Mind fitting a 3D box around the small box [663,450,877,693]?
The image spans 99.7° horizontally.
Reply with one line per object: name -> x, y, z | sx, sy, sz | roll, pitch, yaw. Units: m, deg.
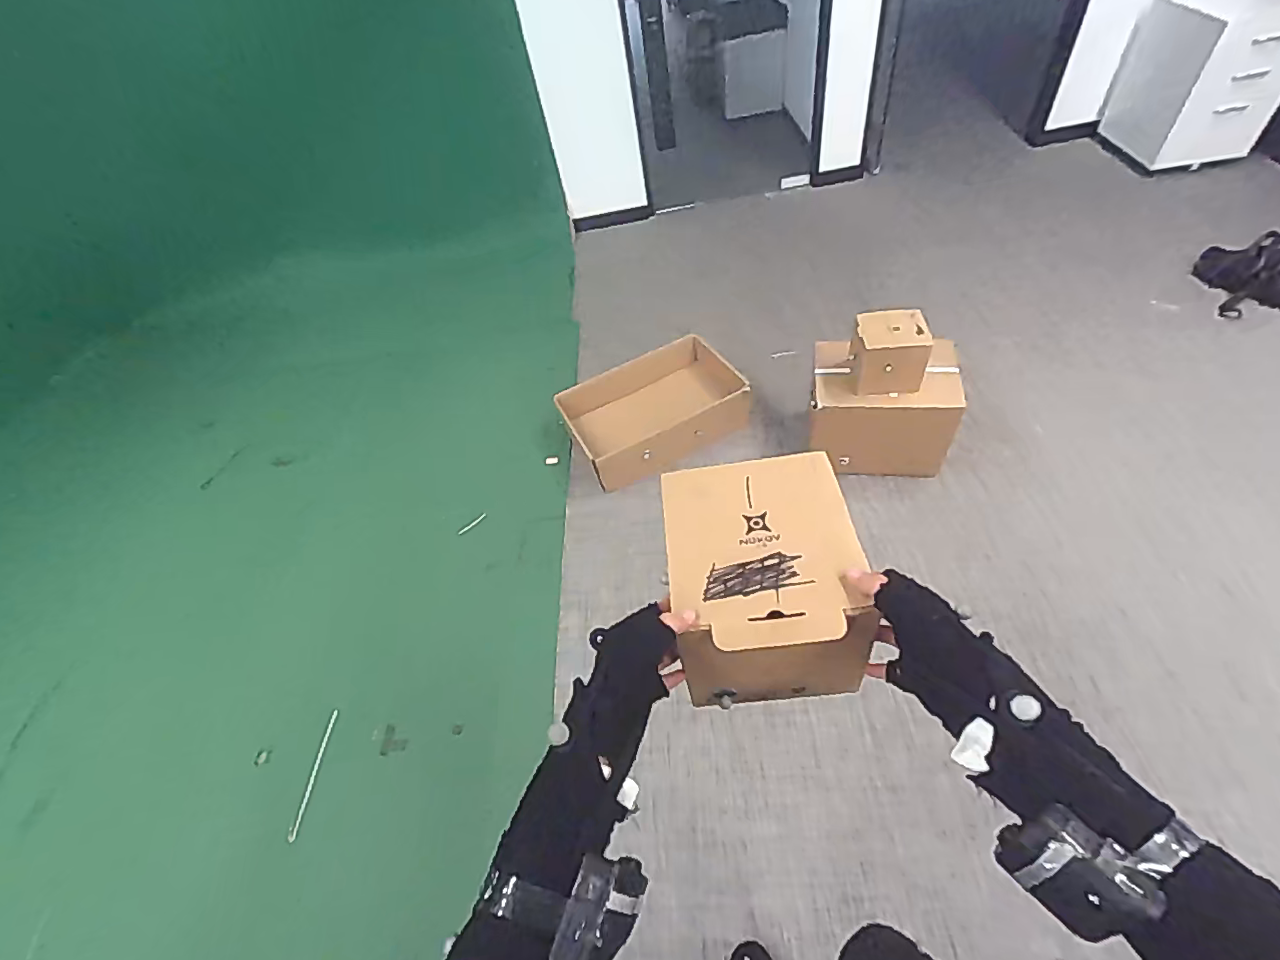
small box -> 0.119, 0.098, 0.540 | 0.168, 0.176, 0.179 | -8, 45, 6

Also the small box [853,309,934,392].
small box -> 0.717, -0.367, 1.555 | 0.179, 0.176, 0.168 | -2, 51, 11
